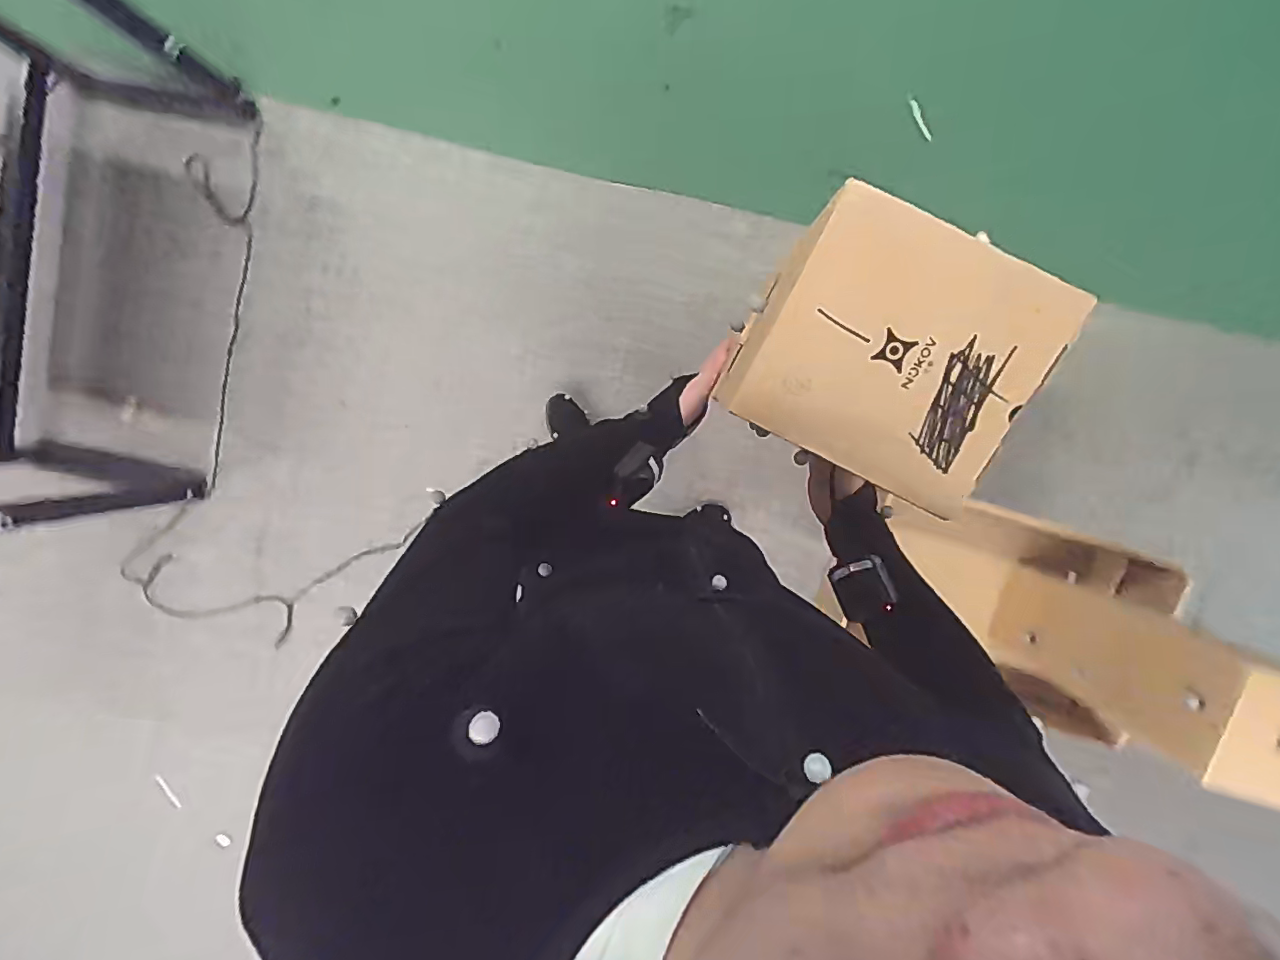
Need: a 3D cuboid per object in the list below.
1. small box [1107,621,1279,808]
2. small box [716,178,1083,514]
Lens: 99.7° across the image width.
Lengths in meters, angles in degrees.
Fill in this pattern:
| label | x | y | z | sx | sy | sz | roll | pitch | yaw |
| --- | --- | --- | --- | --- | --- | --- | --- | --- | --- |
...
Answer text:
| label | x | y | z | sx | sy | sz | roll | pitch | yaw |
| --- | --- | --- | --- | --- | --- | --- | --- | --- | --- |
| small box | 0.844 | 0.334 | 0.788 | 0.168 | 0.176 | 0.179 | 16 | 97 | 1 |
| small box | 0.175 | -0.100 | 0.433 | 0.179 | 0.176 | 0.168 | 26 | 103 | 0 |
